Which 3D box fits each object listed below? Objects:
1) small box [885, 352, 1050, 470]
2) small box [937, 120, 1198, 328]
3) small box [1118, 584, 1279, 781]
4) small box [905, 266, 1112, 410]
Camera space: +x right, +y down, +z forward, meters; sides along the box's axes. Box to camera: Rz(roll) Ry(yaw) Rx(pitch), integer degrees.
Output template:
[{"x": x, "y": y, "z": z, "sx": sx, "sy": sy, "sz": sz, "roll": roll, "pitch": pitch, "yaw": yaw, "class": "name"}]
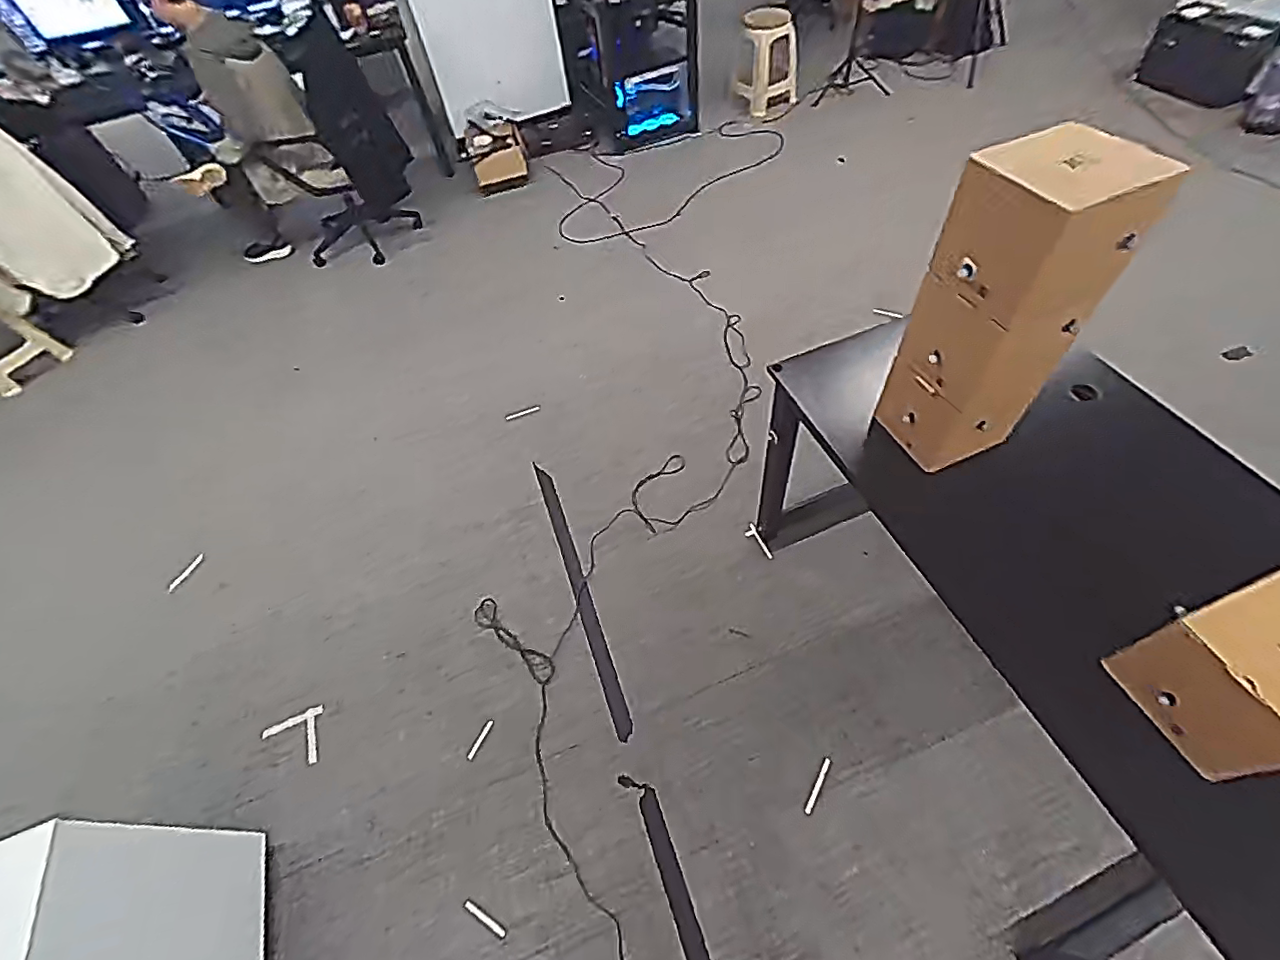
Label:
[{"x": 0.572, "y": -0.145, "z": 0.979, "sx": 0.179, "sy": 0.176, "sz": 0.168, "roll": -23, "pitch": 55, "yaw": -8, "class": "small box"}, {"x": 0.537, "y": -0.333, "z": 0.713, "sx": 0.179, "sy": 0.176, "sz": 0.168, "roll": -22, "pitch": 54, "yaw": -8, "class": "small box"}, {"x": 0.770, "y": 0.249, "z": 0.673, "sx": 0.179, "sy": 0.176, "sz": 0.168, "roll": -21, "pitch": 55, "yaw": -7, "class": "small box"}, {"x": 0.555, "y": -0.240, "z": 0.845, "sx": 0.179, "sy": 0.176, "sz": 0.168, "roll": -22, "pitch": 54, "yaw": -8, "class": "small box"}]
